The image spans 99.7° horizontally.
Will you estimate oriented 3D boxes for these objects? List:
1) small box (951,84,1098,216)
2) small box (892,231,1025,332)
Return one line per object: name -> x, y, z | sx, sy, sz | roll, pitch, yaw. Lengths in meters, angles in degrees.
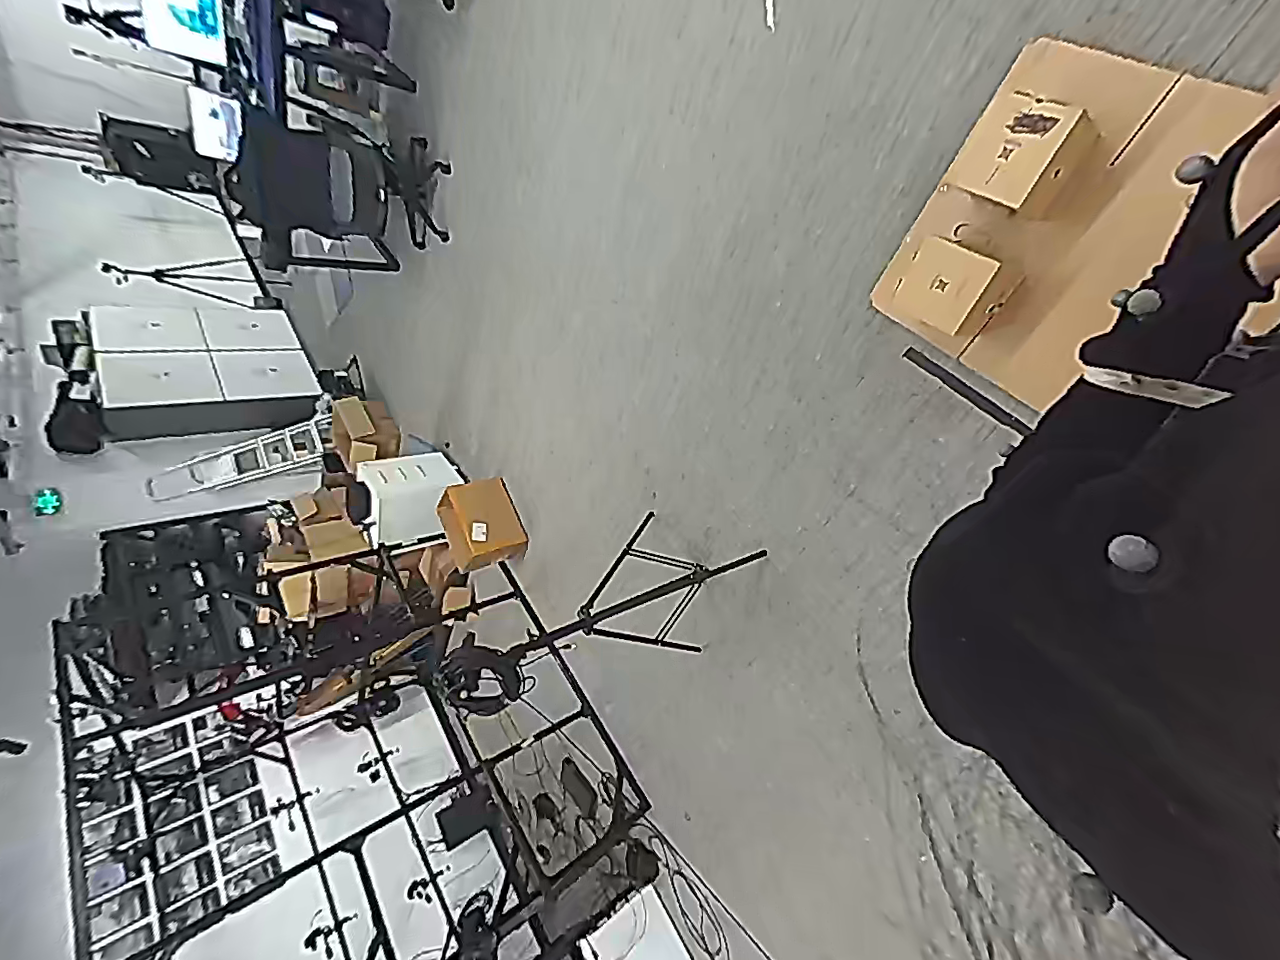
small box -> 0.789, -0.667, 1.106 | 0.168, 0.176, 0.179 | 46, 131, 31
small box -> 0.729, -0.451, 1.239 | 0.179, 0.176, 0.168 | 44, 131, 32
